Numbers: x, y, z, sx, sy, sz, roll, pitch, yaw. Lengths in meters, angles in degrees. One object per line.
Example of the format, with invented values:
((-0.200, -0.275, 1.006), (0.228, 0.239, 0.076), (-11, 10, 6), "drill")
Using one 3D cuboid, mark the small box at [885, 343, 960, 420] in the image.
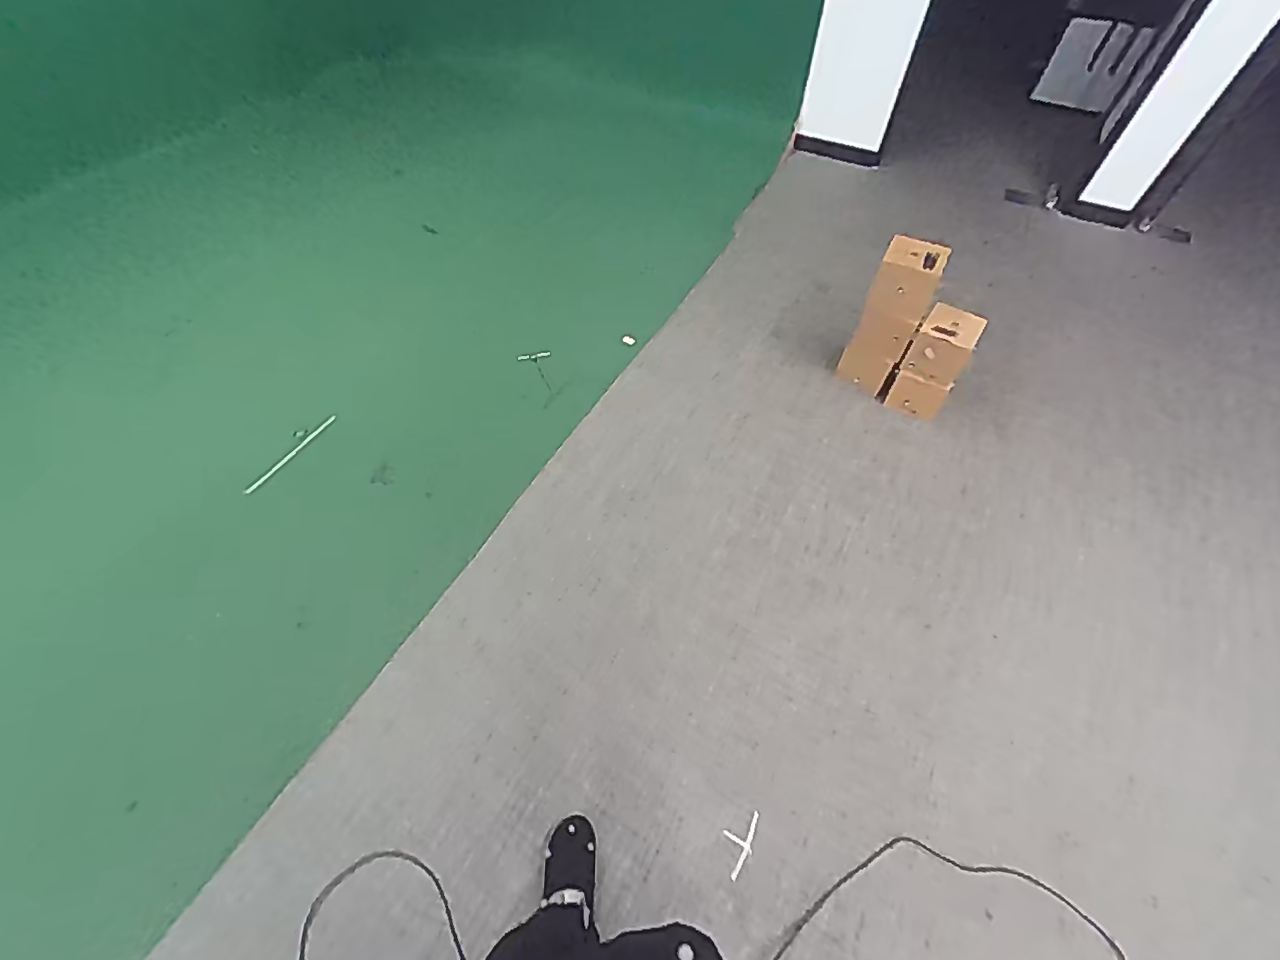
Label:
((0.995, -0.347, 1.914), (0.168, 0.176, 0.179), (25, 60, 17), "small box")
